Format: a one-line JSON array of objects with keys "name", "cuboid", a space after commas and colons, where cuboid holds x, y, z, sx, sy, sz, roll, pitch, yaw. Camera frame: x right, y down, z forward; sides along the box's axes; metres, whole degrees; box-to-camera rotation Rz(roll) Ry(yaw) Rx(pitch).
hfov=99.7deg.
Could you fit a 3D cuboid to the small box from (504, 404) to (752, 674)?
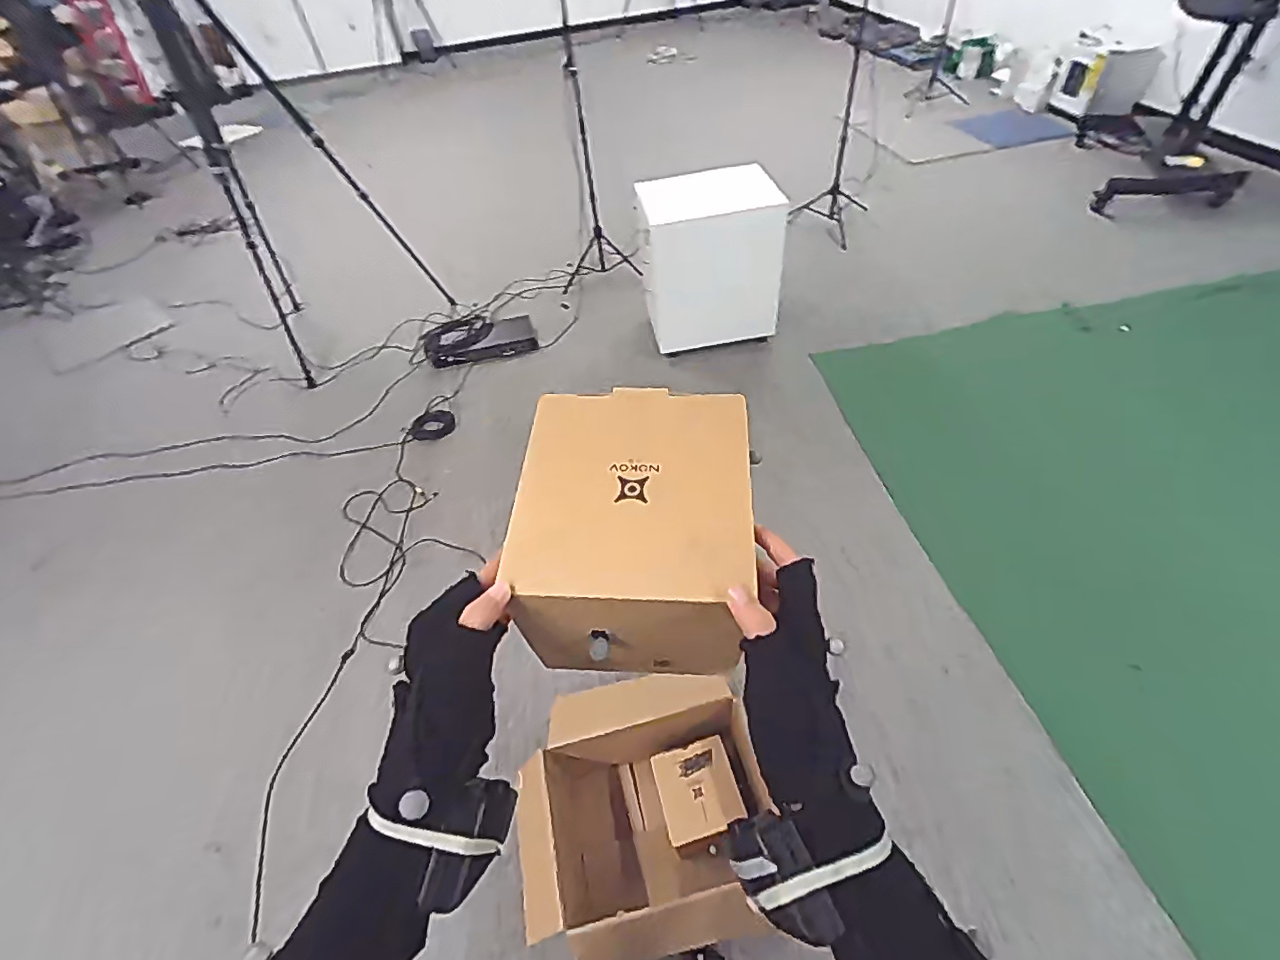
[{"name": "small box", "cuboid": [0.001, 0.055, 0.457, 0.168, 0.176, 0.179, 1, 55, 4]}]
